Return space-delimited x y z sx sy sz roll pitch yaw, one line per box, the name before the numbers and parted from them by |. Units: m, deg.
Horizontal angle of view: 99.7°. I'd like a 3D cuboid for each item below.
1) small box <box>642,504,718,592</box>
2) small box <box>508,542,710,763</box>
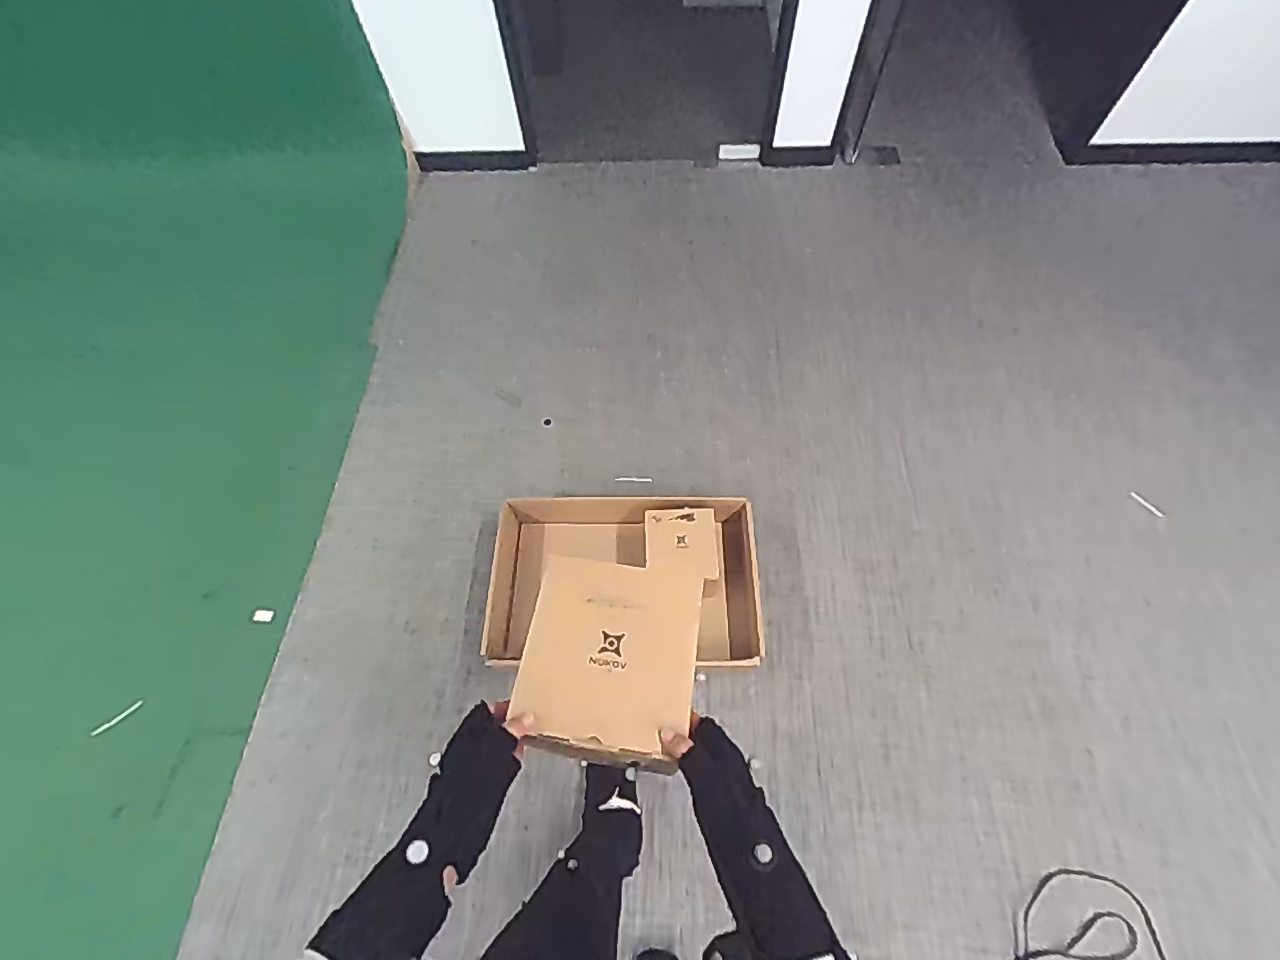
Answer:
small box | 0.096 0.175 1.316 0.168 0.176 0.179 -5 63 2
small box | -0.022 0.189 0.575 0.168 0.176 0.179 8 58 4
